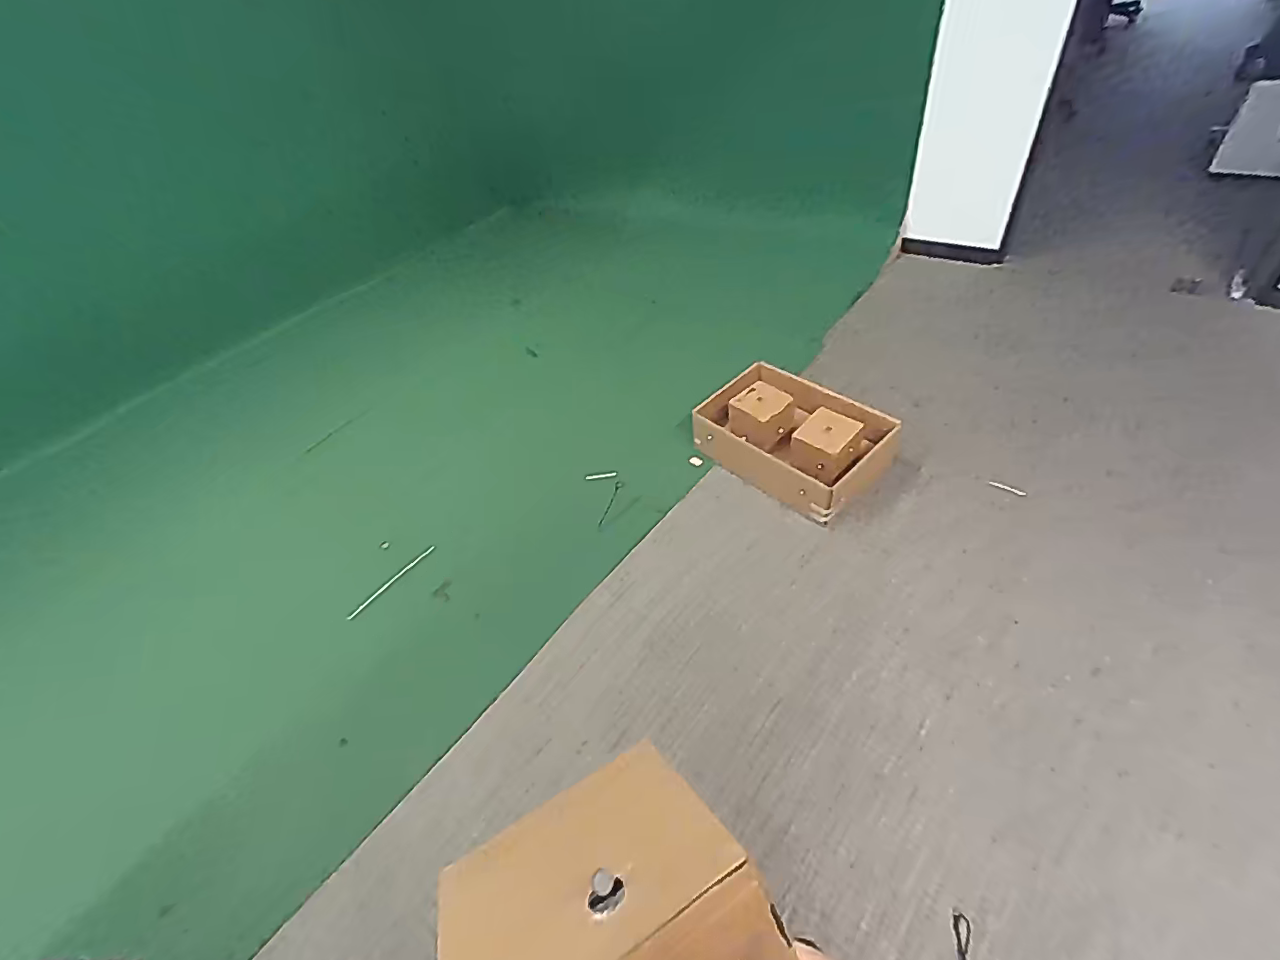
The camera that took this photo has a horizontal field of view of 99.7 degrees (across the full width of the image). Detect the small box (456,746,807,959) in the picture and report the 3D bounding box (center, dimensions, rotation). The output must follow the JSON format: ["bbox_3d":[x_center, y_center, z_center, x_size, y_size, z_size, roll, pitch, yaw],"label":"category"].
[{"bbox_3d":[-0.005,0.309,0.343,0.179,0.168,0.176,-24,4,-18],"label":"small box"}]
